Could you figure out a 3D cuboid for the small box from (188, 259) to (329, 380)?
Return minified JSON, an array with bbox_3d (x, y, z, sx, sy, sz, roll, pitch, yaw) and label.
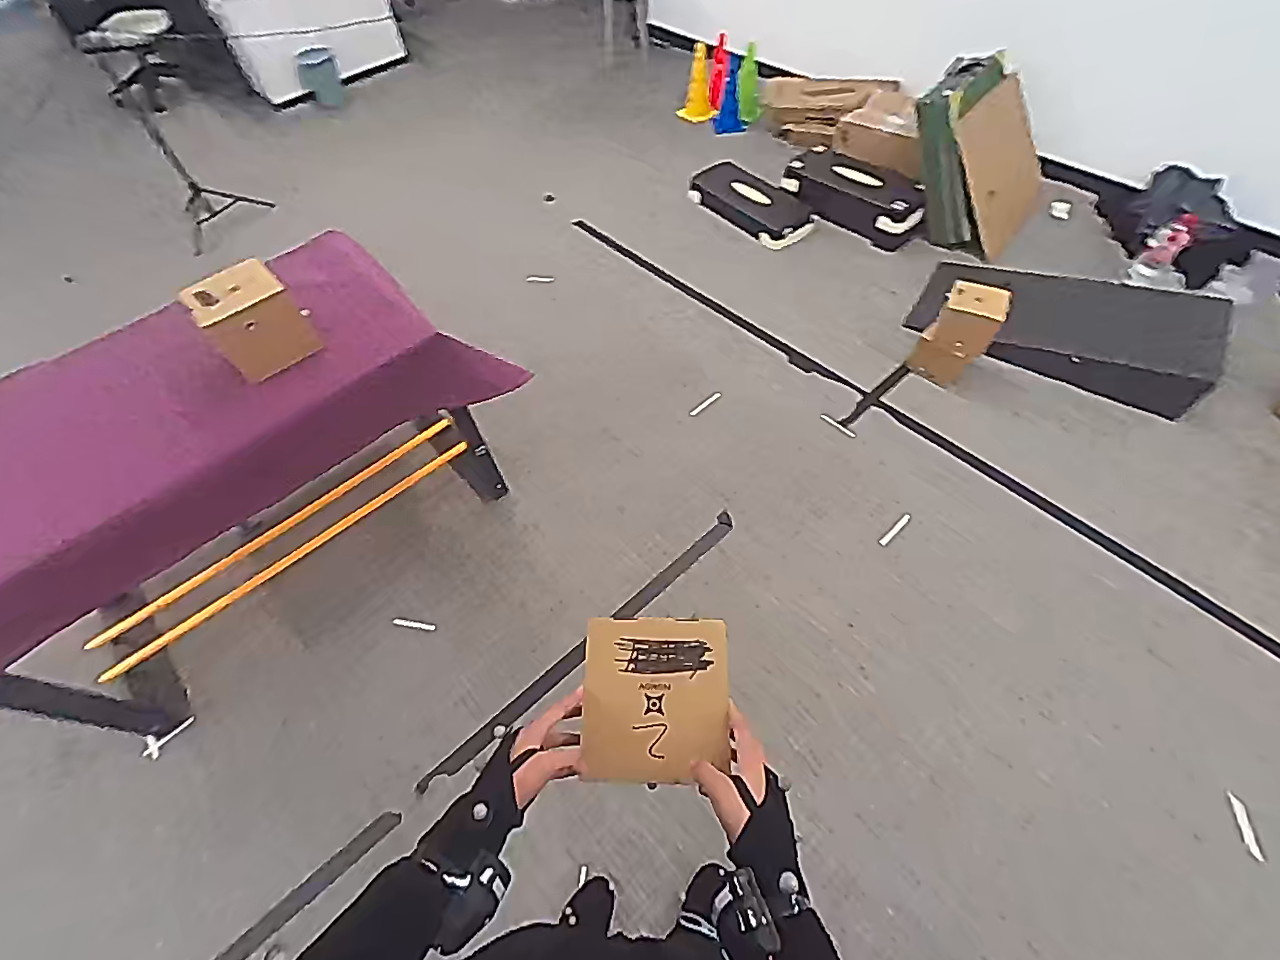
[{"bbox_3d":[-0.855,-0.358,1.225,0.179,0.176,0.168,-38,62,-20],"label":"small box"}]
